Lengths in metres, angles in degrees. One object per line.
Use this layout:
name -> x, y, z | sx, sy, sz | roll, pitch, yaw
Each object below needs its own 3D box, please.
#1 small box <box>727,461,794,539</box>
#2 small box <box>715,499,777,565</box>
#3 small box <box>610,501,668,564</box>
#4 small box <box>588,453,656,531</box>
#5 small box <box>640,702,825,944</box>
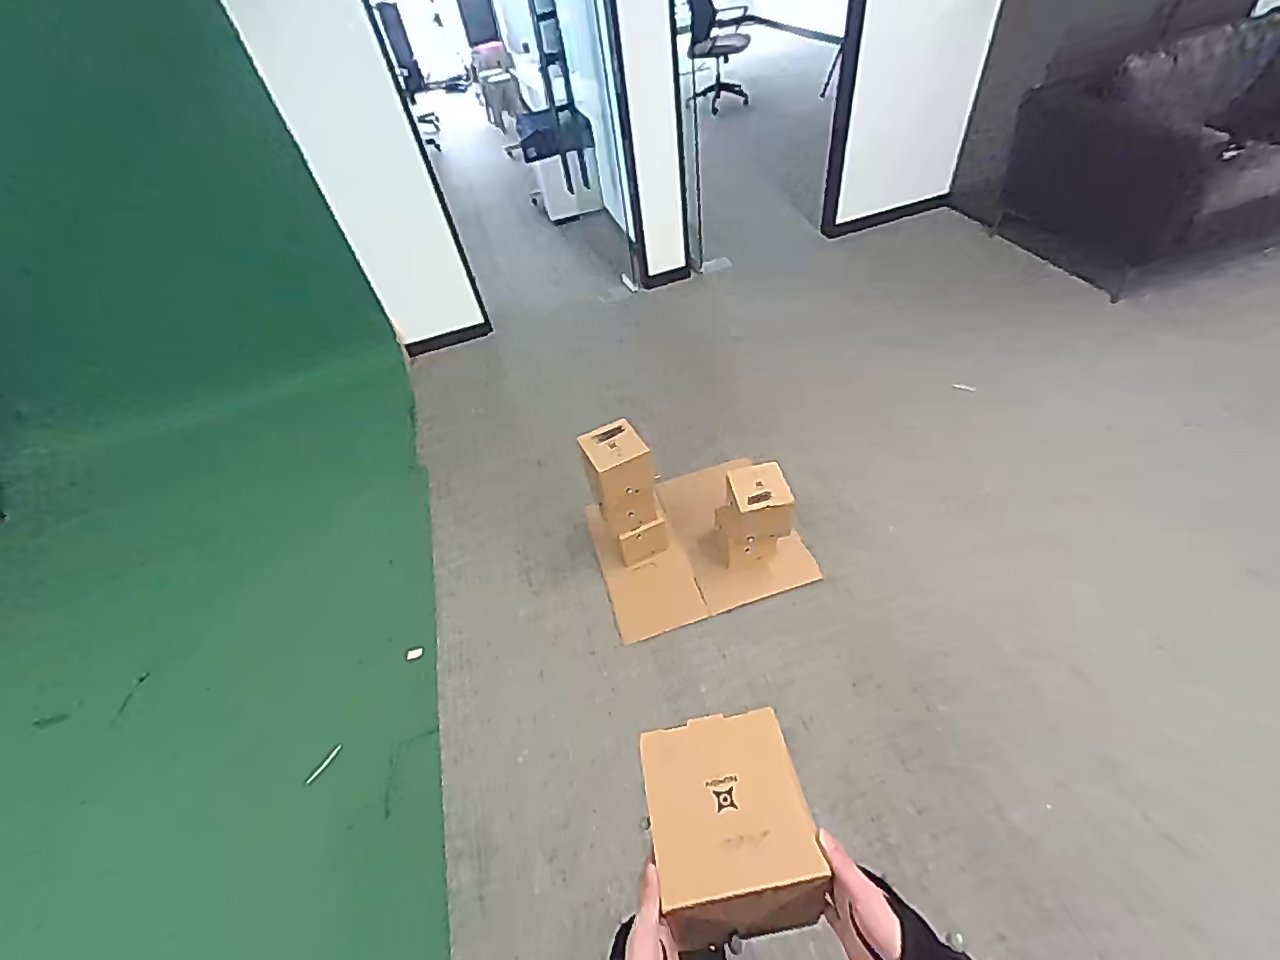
small box -> 0.373, 0.069, 1.691 | 0.168, 0.176, 0.179 | -10, 46, 0
small box -> 0.358, 0.169, 1.827 | 0.168, 0.176, 0.179 | -14, 46, -3
small box -> -0.012, 0.160, 1.900 | 0.168, 0.176, 0.179 | -23, 48, -11
small box -> -0.056, 0.047, 1.786 | 0.168, 0.176, 0.179 | -22, 48, -11
small box -> 0.096, 0.391, 0.622 | 0.168, 0.176, 0.179 | -10, 37, 0
